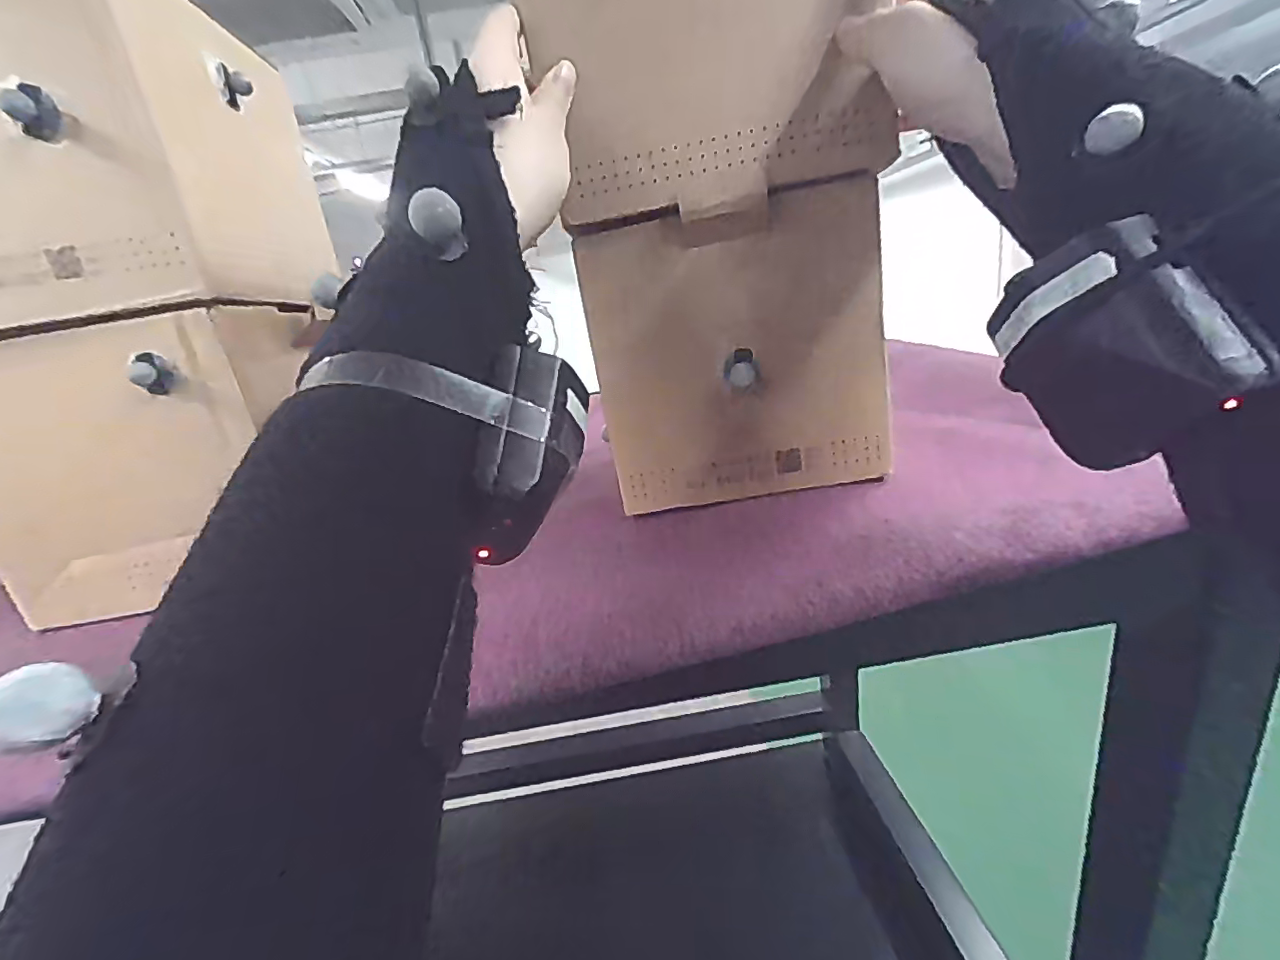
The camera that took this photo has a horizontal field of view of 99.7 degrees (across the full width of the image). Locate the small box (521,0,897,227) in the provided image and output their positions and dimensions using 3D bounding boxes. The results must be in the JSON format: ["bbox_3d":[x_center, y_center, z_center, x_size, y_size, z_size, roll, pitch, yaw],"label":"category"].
[{"bbox_3d":[0.032,-0.246,0.321,0.179,0.176,0.168,-9,16,5],"label":"small box"}]

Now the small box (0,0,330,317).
[{"bbox_3d":[-0.316,-0.179,0.319,0.168,0.176,0.179,-9,16,-4],"label":"small box"}]
